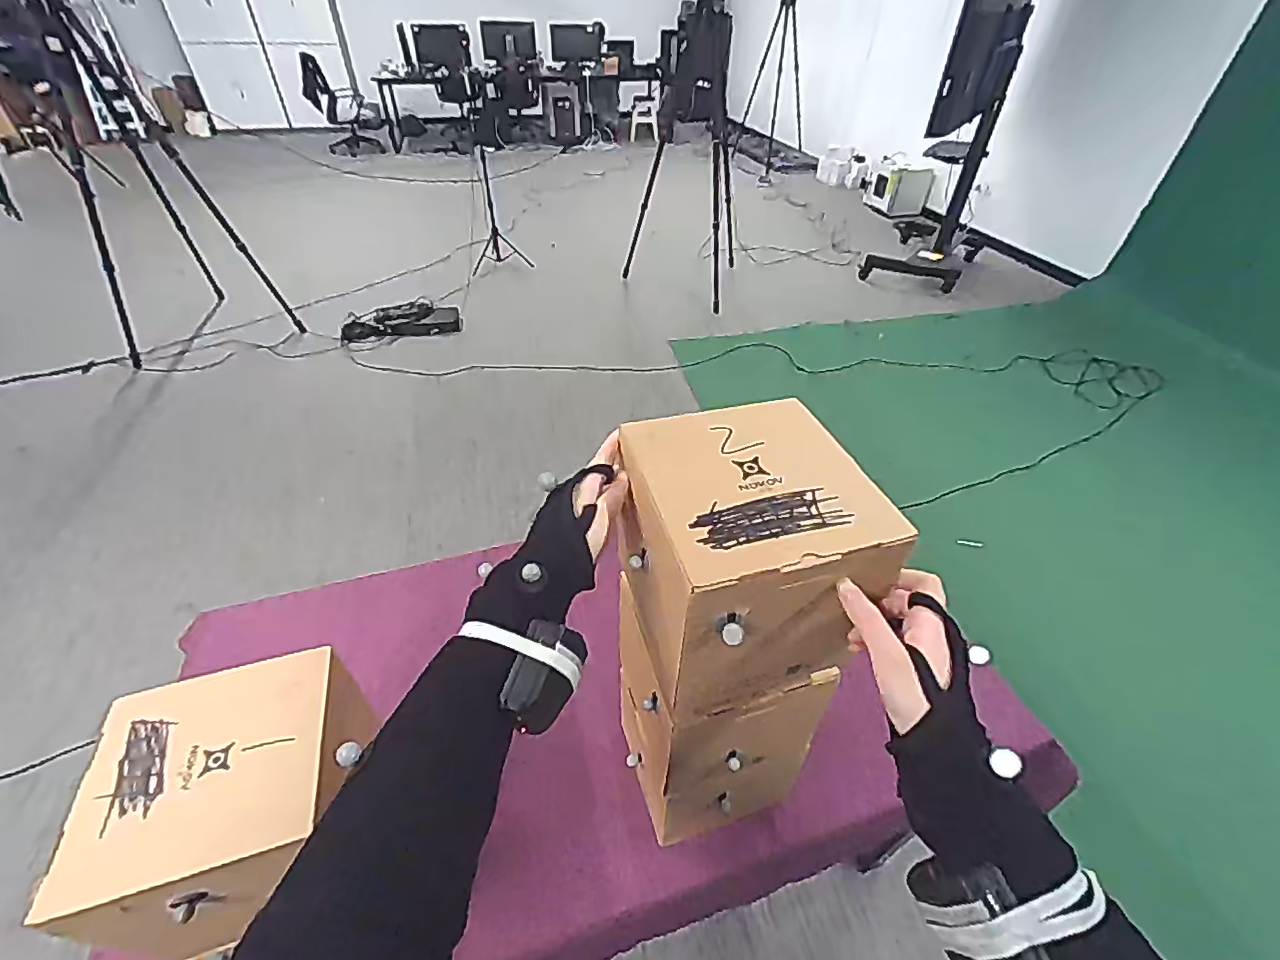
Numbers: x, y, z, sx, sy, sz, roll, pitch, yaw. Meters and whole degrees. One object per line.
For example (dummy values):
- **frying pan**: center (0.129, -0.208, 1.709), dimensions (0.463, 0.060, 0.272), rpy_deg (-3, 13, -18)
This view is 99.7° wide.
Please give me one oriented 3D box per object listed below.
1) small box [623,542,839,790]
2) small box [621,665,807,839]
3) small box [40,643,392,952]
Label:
- **small box**: center (0.080, 0.199, 0.589), dimensions (0.168, 0.176, 0.179), rpy_deg (-11, 43, -13)
- **small box**: center (0.084, 0.325, 0.694), dimensions (0.179, 0.176, 0.168), rpy_deg (-13, 44, -13)
- **small box**: center (-0.343, 0.284, 0.488), dimensions (0.179, 0.176, 0.168), rpy_deg (-14, 45, -14)
